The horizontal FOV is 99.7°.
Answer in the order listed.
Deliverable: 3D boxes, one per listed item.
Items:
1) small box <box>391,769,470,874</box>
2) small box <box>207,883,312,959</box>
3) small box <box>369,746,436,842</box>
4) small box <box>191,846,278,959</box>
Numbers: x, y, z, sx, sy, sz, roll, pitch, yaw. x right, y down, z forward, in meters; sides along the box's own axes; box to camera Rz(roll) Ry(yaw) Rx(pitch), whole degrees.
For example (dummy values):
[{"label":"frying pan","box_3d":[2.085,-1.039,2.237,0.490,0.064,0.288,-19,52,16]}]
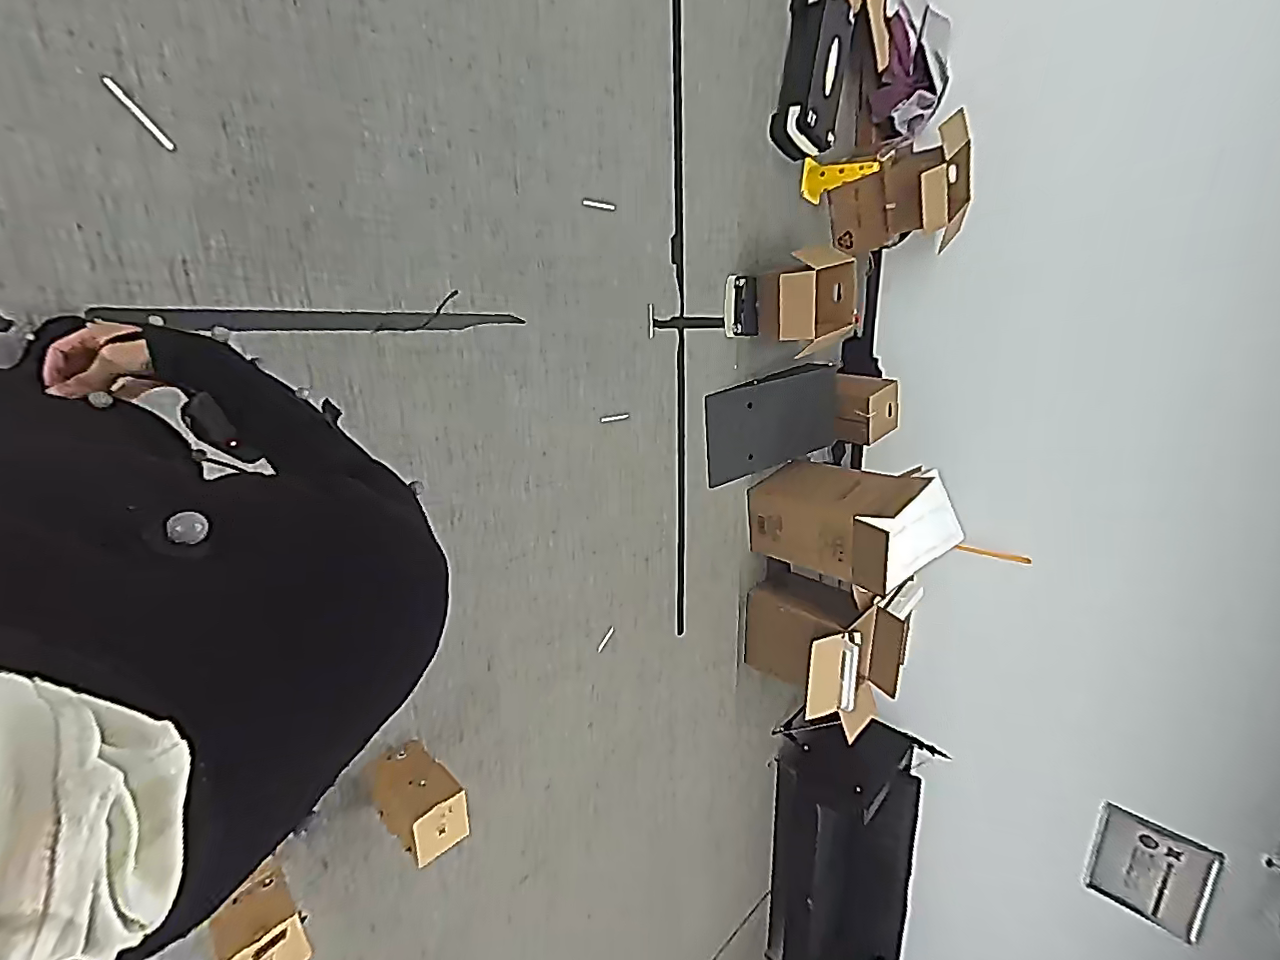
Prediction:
[{"label":"small box","box_3d":[-0.645,1.042,1.664,0.168,0.176,0.179,-15,110,-45]},{"label":"small box","box_3d":[-0.962,1.176,1.367,0.168,0.176,0.179,-20,116,-42]},{"label":"small box","box_3d":[-0.768,1.019,1.771,0.168,0.176,0.179,-15,111,-44]},{"label":"small box","box_3d":[-1.087,1.143,1.469,0.168,0.176,0.179,-20,115,-42]}]
